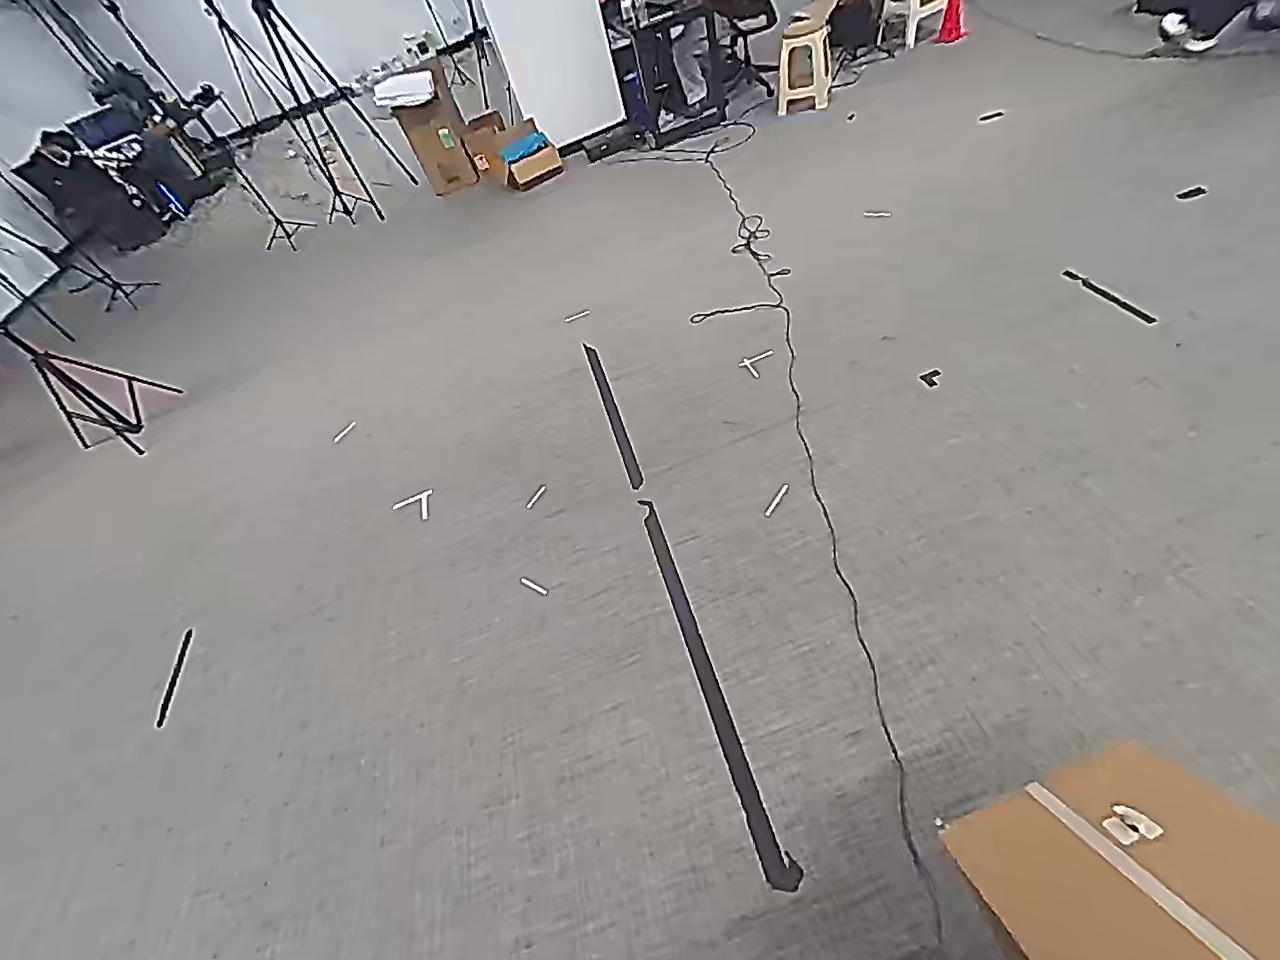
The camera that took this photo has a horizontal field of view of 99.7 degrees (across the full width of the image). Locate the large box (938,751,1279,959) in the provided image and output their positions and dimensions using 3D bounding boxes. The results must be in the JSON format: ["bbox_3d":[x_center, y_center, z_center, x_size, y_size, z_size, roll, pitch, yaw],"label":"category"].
[{"bbox_3d":[0.645,0.601,0.610,0.320,0.408,0.320,-27,87,2],"label":"large box"}]
